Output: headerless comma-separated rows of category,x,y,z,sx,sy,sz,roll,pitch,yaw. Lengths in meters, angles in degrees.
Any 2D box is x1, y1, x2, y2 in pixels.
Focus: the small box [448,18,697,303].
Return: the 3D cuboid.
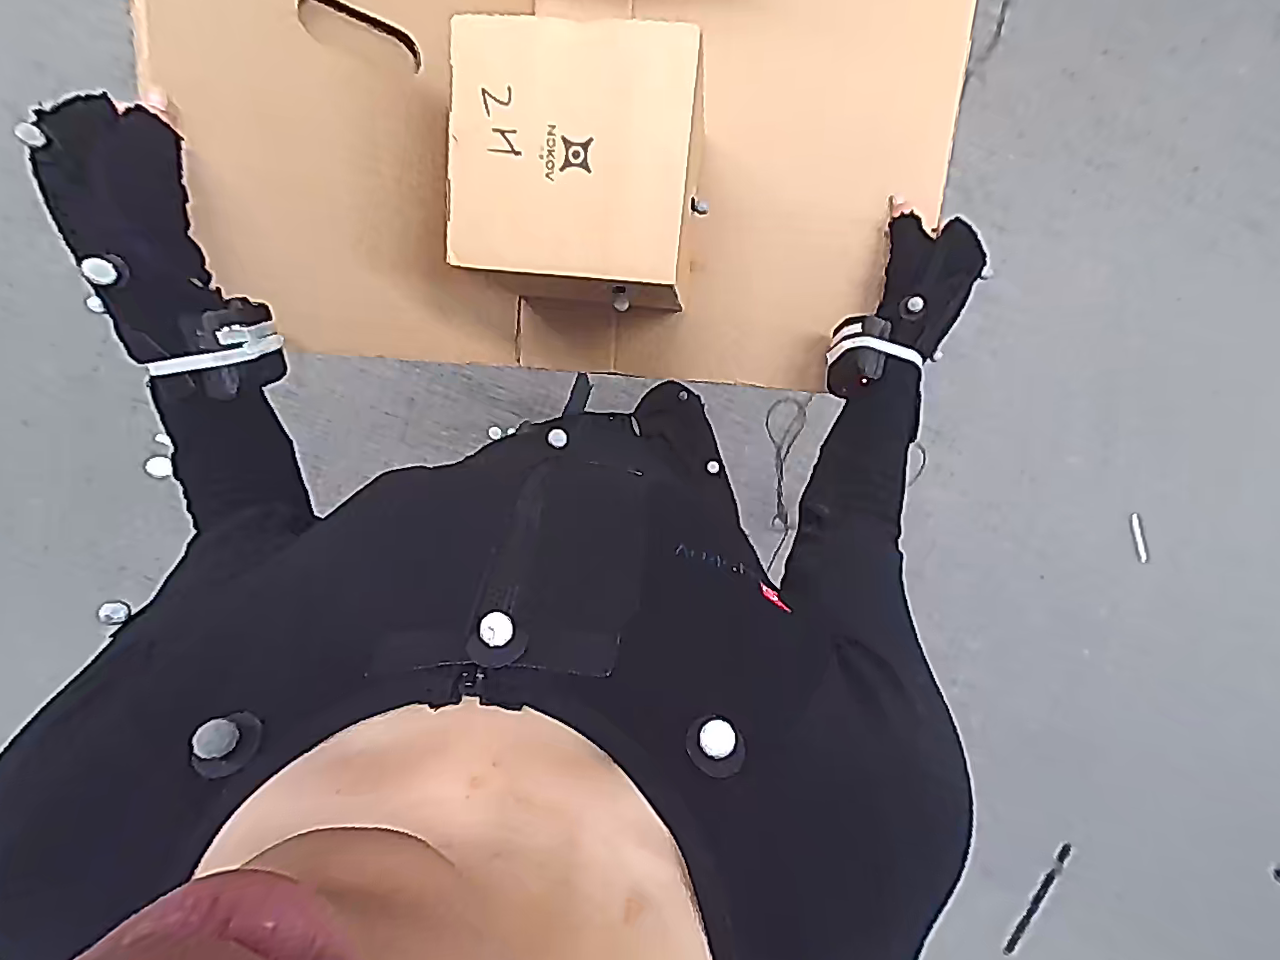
small box,-0.045,-0.252,0.468,0.179,0.176,0.168,7,102,6
